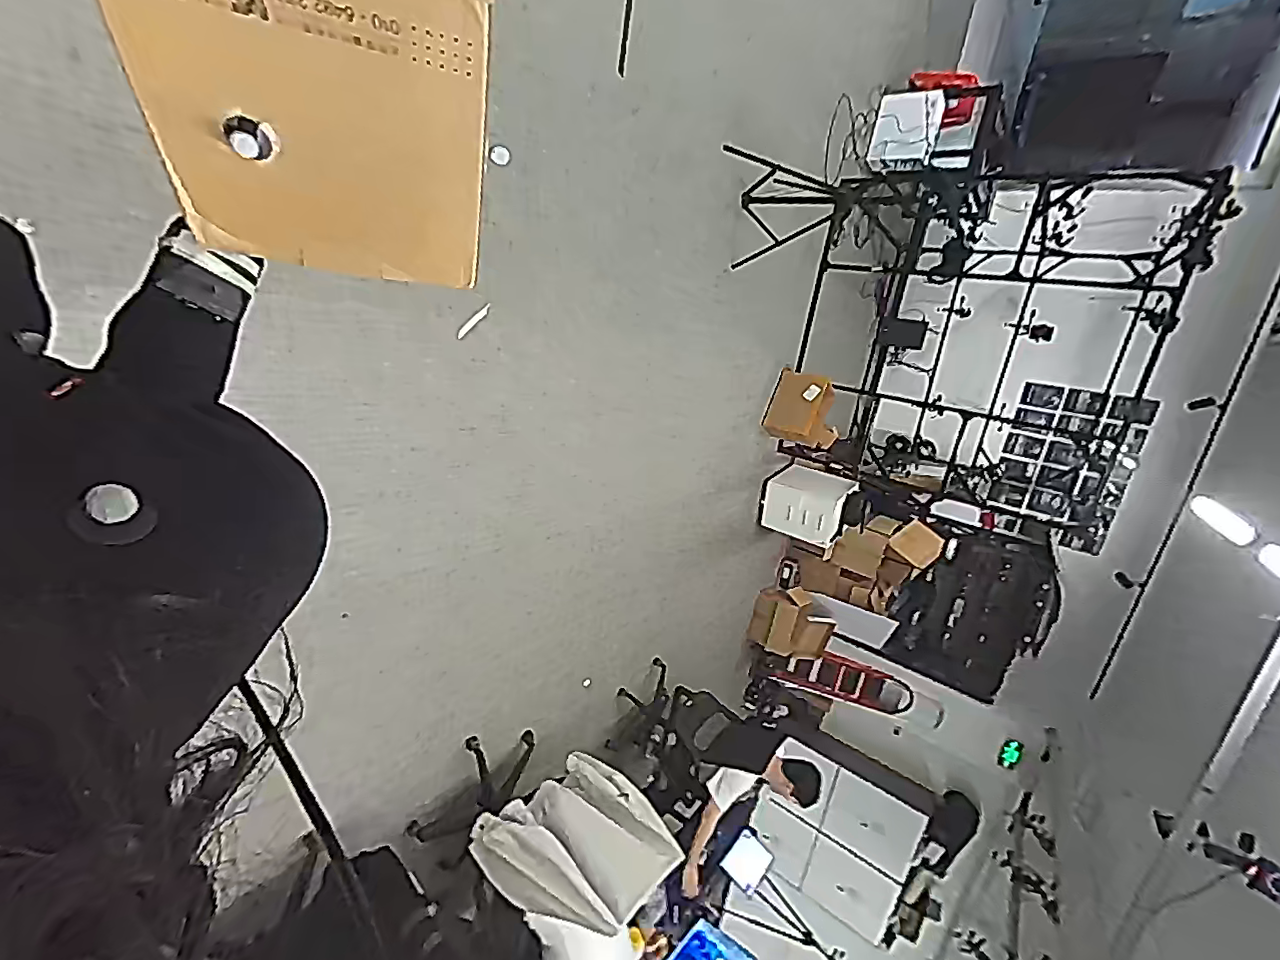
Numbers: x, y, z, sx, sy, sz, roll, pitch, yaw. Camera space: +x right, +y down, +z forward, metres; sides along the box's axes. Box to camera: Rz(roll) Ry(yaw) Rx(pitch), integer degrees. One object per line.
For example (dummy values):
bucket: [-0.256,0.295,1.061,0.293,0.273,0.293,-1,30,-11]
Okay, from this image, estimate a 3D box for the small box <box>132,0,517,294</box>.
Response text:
small box: [-0.170,-0.250,0.333,0.168,0.179,0.176,4,145,-19]
